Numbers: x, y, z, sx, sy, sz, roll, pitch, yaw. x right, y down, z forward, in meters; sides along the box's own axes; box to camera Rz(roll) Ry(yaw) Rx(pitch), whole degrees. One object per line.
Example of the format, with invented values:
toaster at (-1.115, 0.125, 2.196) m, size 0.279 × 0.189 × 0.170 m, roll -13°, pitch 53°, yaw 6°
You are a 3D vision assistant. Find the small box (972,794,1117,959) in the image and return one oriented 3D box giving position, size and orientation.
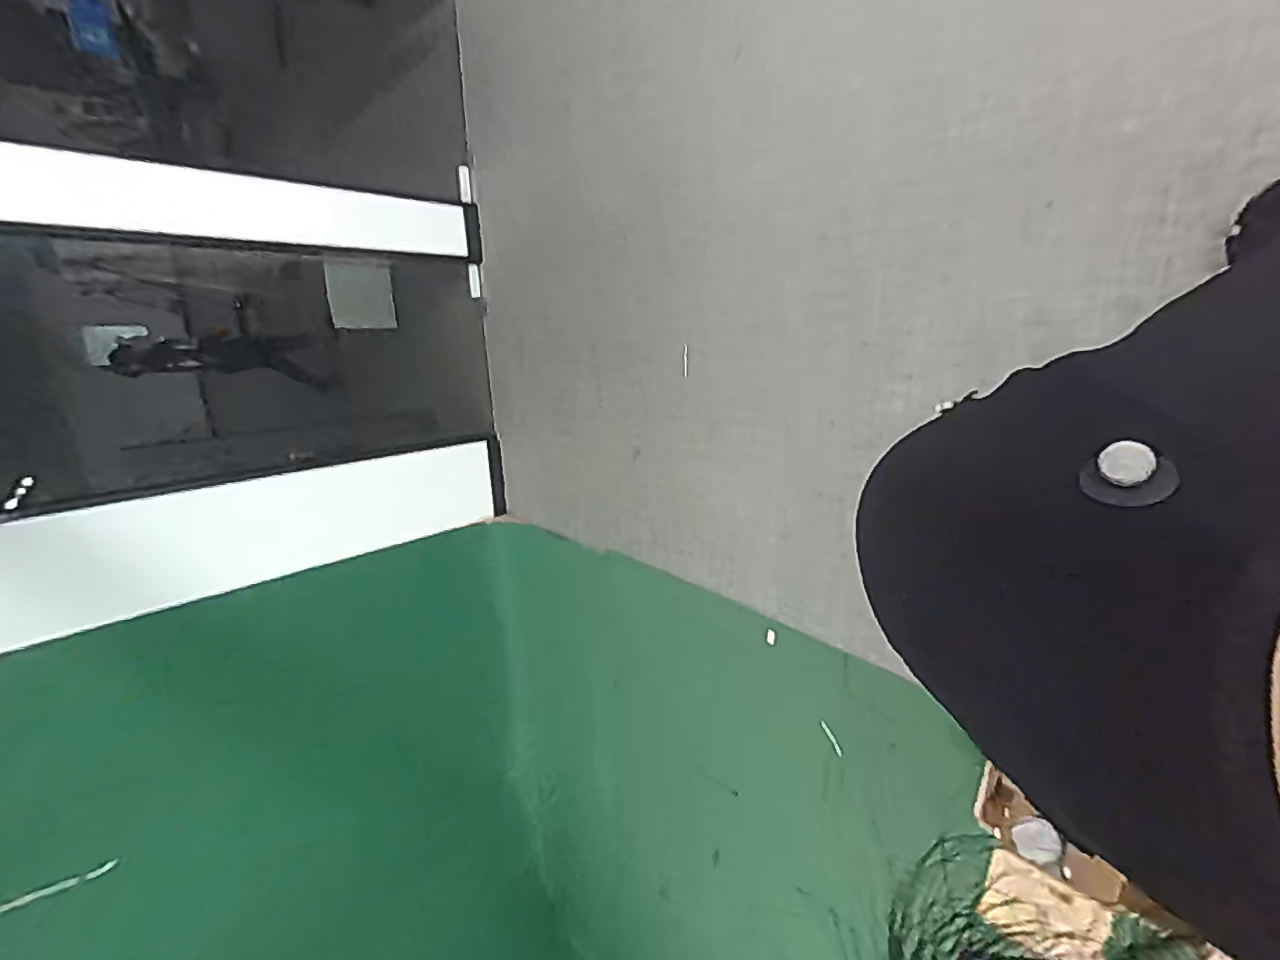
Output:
small box at (0.728, 0.723, 0.974) m, size 0.168 × 0.176 × 0.179 m, roll 16°, pitch 112°, yaw 44°
